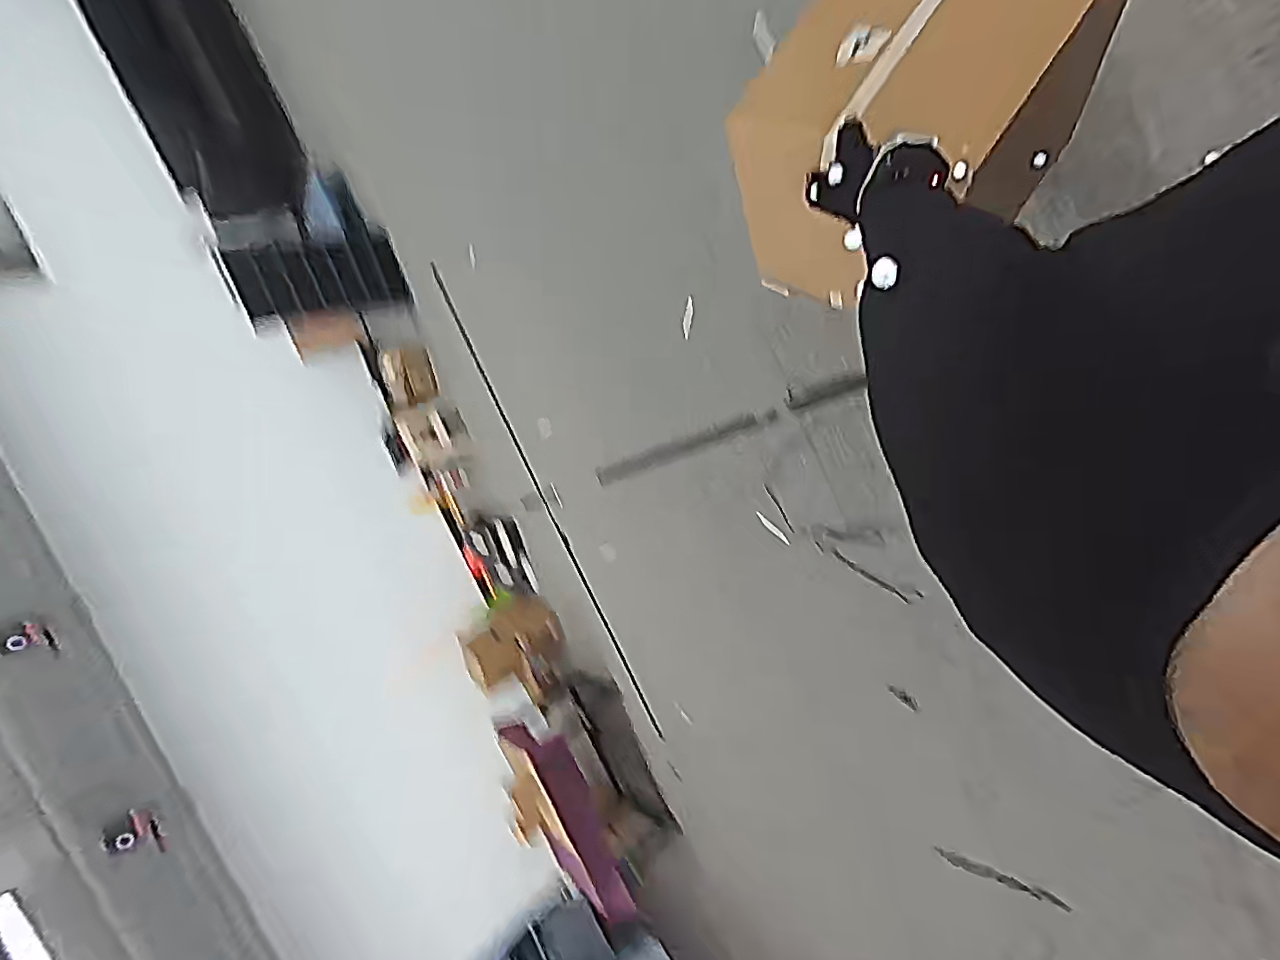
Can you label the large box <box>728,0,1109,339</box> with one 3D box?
[{"bbox_3d":[0.389,-0.492,0.783,0.320,0.408,0.320,33,177,29],"label":"large box"}]
